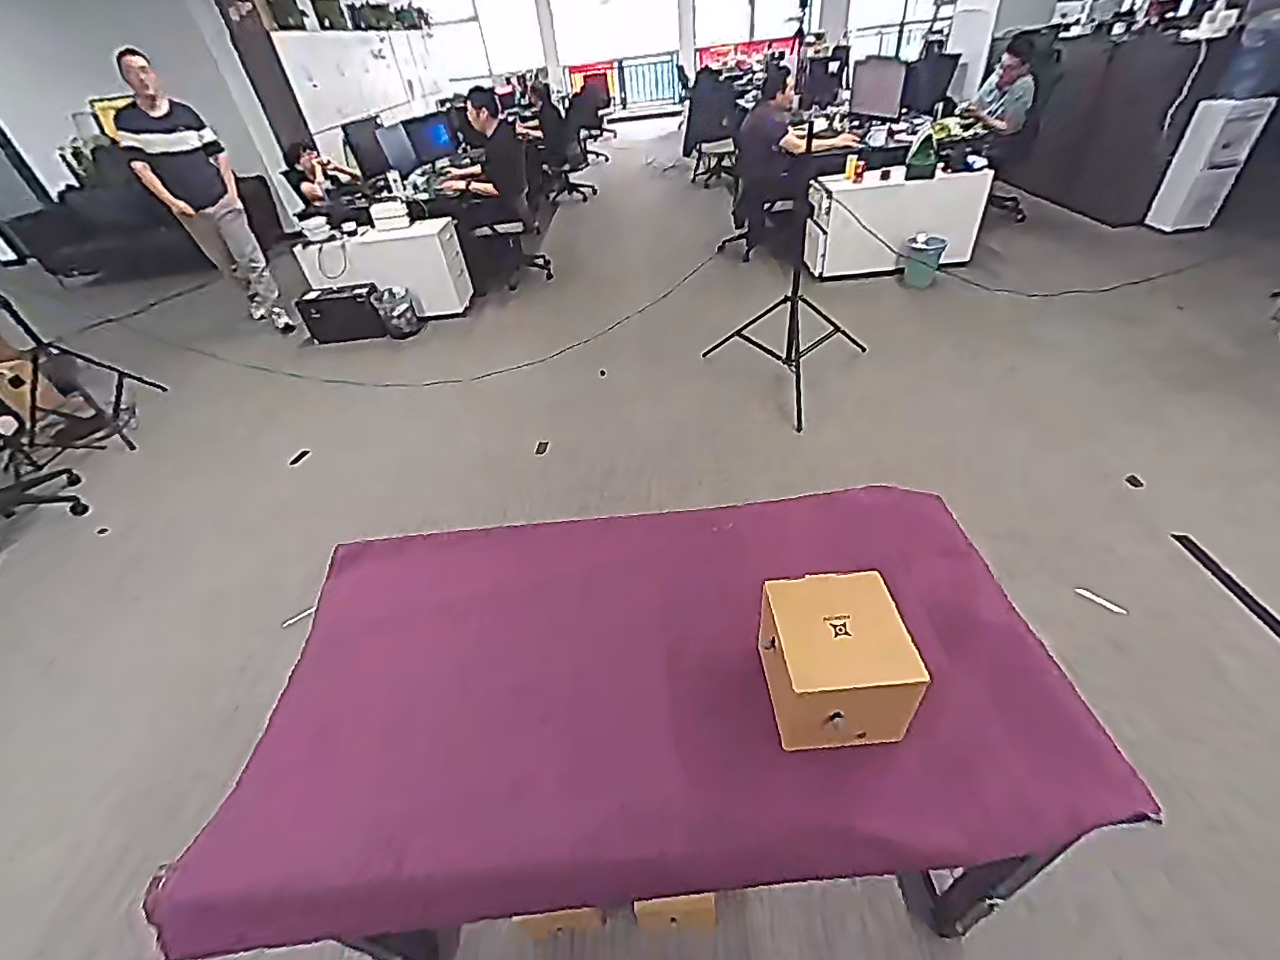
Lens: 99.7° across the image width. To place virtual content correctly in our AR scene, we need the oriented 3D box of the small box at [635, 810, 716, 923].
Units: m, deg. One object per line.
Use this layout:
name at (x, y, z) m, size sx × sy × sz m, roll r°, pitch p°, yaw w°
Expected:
small box at (0.080, 0.866, 1.209) m, size 0.168 × 0.176 × 0.179 m, roll -4°, pitch 39°, yaw 4°

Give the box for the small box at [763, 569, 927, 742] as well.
small box at (0.275, 0.254, 0.770) m, size 0.168 × 0.176 × 0.179 m, roll -6°, pitch 40°, yaw 2°
